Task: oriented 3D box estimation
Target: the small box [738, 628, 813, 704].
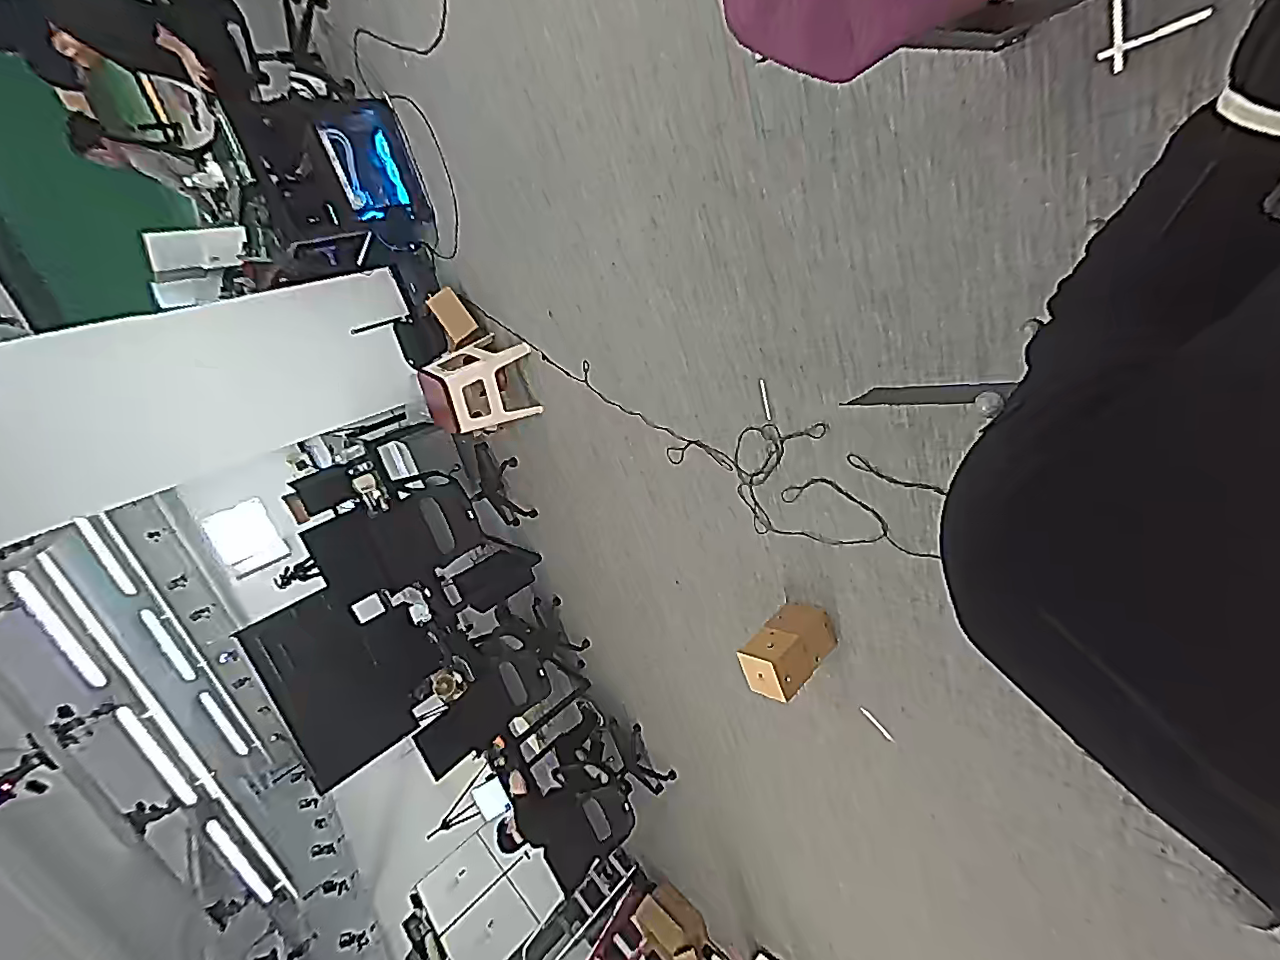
[{"bbox_3d":[0.488,0.656,1.934,0.168,0.176,0.179,-3,113,54],"label":"small box"}]
